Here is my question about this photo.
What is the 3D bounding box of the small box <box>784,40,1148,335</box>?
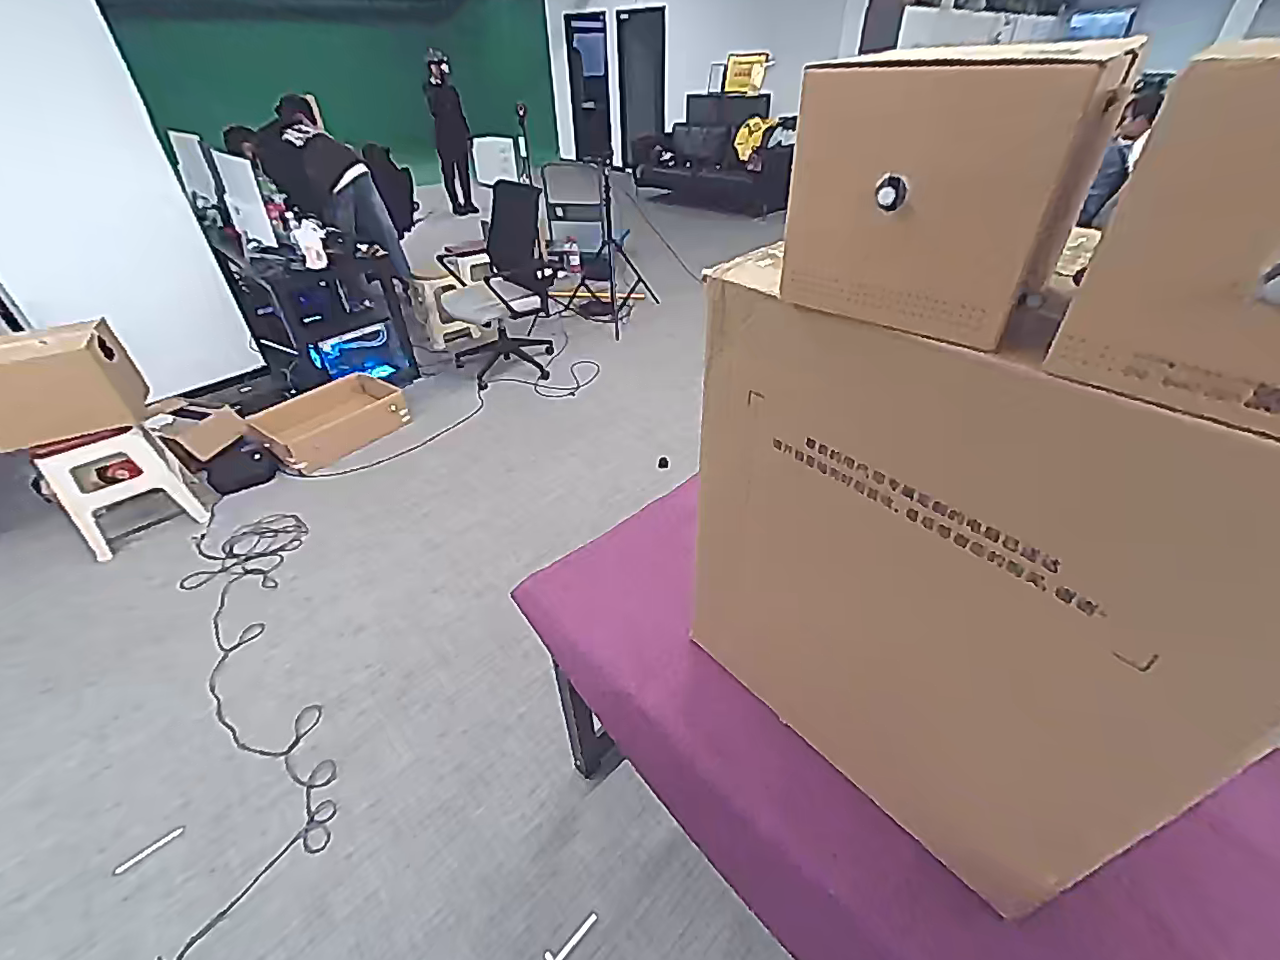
[{"bbox_3d":[0.235,-0.228,0.423,0.179,0.176,0.168,27,47,35],"label":"small box"}]
